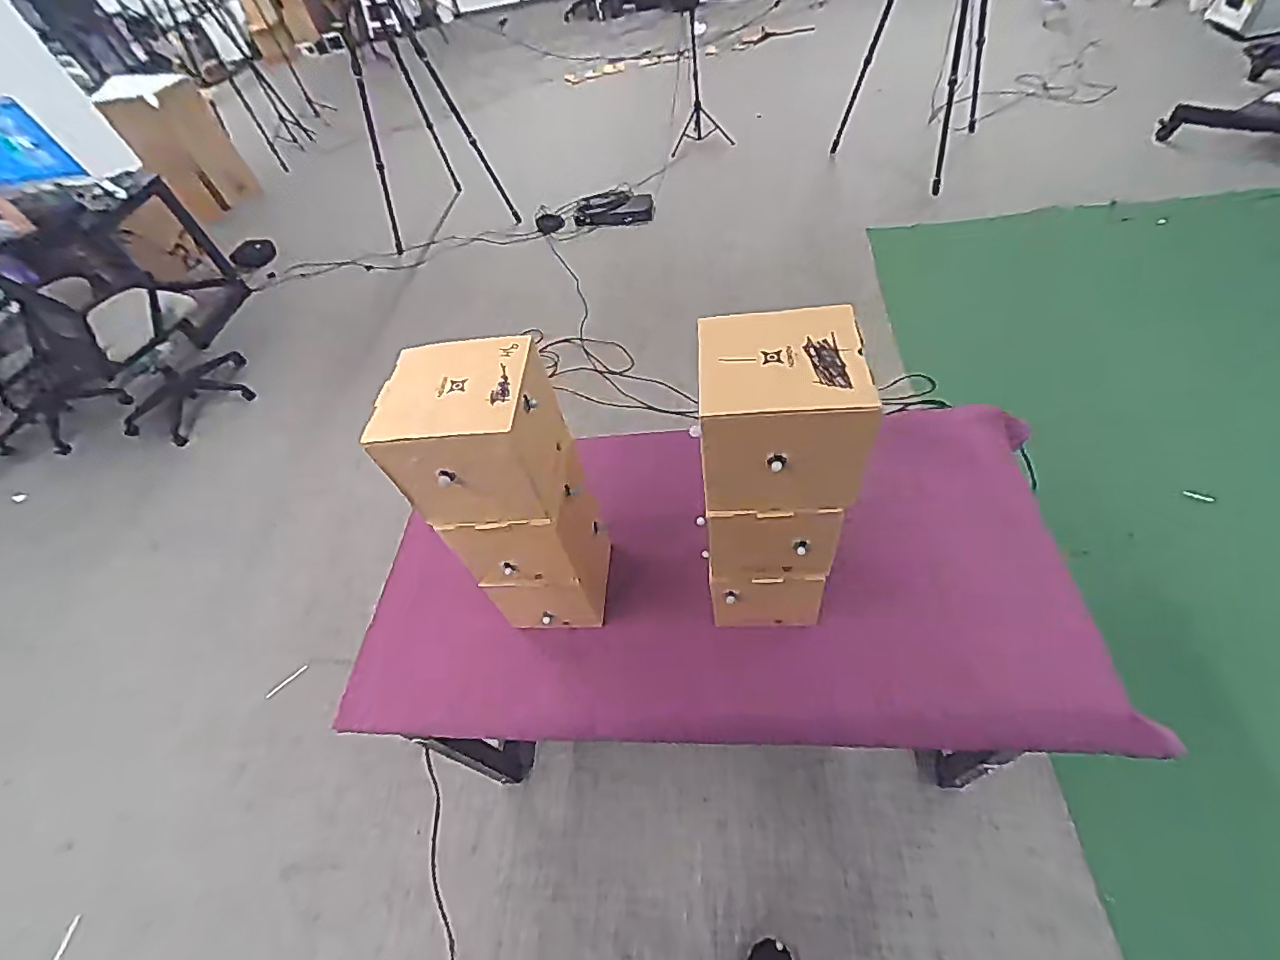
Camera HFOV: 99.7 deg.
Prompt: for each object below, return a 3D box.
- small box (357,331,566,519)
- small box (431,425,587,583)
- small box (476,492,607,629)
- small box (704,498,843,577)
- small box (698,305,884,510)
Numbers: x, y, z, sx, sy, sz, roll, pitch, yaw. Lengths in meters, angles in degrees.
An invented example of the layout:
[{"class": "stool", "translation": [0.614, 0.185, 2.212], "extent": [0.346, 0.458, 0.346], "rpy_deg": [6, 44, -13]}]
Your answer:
[{"class": "small box", "translation": [-0.207, -0.063, 0.682], "extent": [0.179, 0.176, 0.168], "rpy_deg": [-4, 52, 8]}, {"class": "small box", "translation": [-0.179, 0.038, 0.809], "extent": [0.168, 0.176, 0.179], "rpy_deg": [-3, 52, 8]}, {"class": "small box", "translation": [-0.156, 0.139, 0.934], "extent": [0.168, 0.176, 0.179], "rpy_deg": [-2, 52, 9]}, {"class": "small box", "translation": [0.176, 0.024, 0.753], "extent": [0.168, 0.176, 0.179], "rpy_deg": [-2, 51, 8]}, {"class": "small box", "translation": [0.159, -0.077, 0.625], "extent": [0.179, 0.176, 0.168], "rpy_deg": [-2, 52, 9]}]
